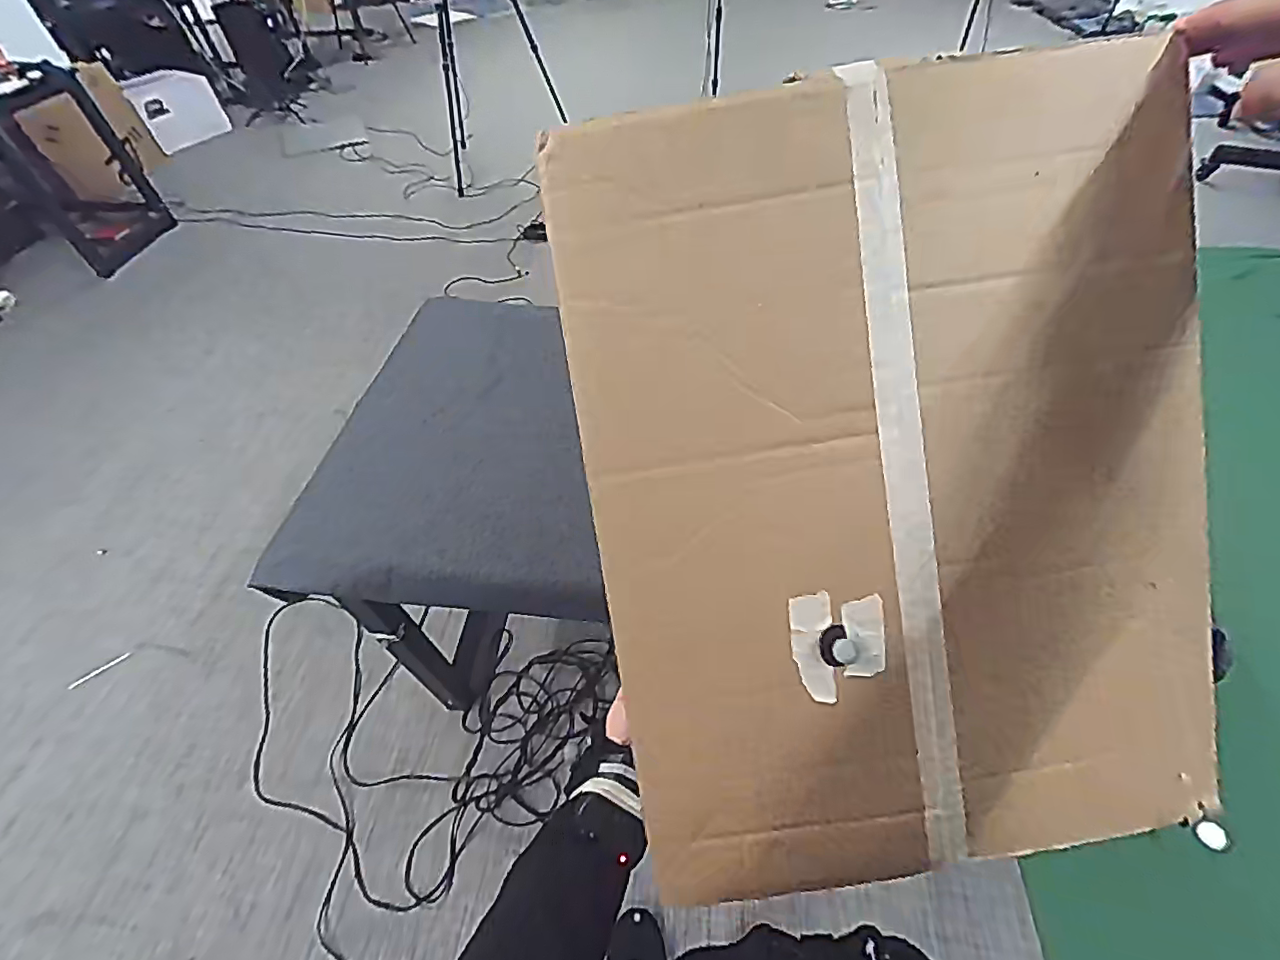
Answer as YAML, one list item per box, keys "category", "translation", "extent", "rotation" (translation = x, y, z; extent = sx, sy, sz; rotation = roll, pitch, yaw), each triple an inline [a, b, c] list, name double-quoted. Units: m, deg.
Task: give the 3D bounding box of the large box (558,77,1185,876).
- category: "large box"
  translation: [0.135, -0.006, 0.443]
  extent: [0.320, 0.408, 0.320]
  rotation: [-10, 7, -1]
